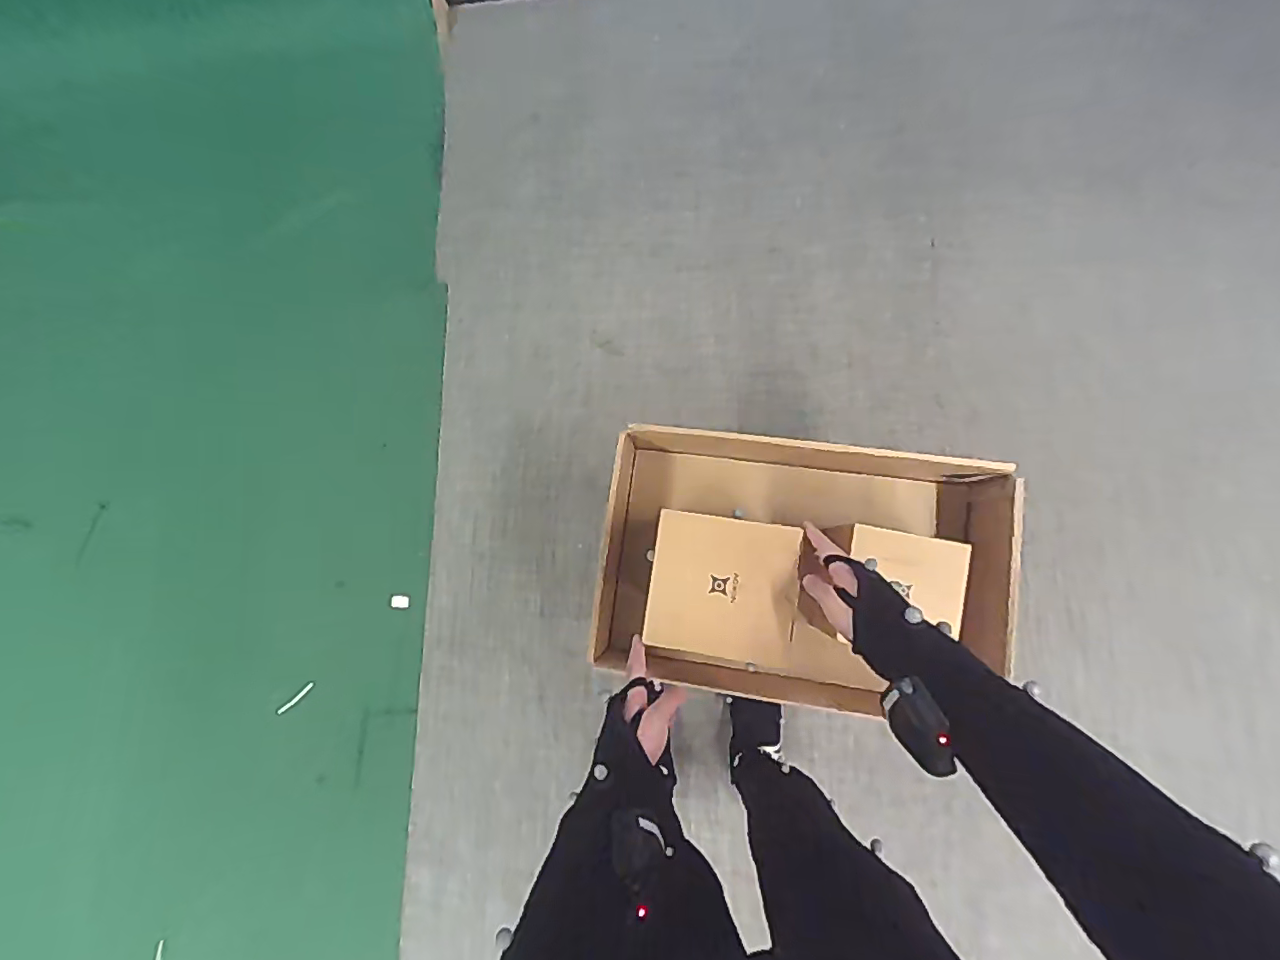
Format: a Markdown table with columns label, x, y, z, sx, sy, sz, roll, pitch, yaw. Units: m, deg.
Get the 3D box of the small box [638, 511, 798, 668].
| label | x | y | z | sx | sy | sz | roll | pitch | yaw |
| --- | --- | --- | --- | --- | --- | --- | --- | --- | --- |
| small box | 0.102 | 0.140 | 0.728 | 0.179 | 0.176 | 0.168 | 7 | 84 | 7 |
